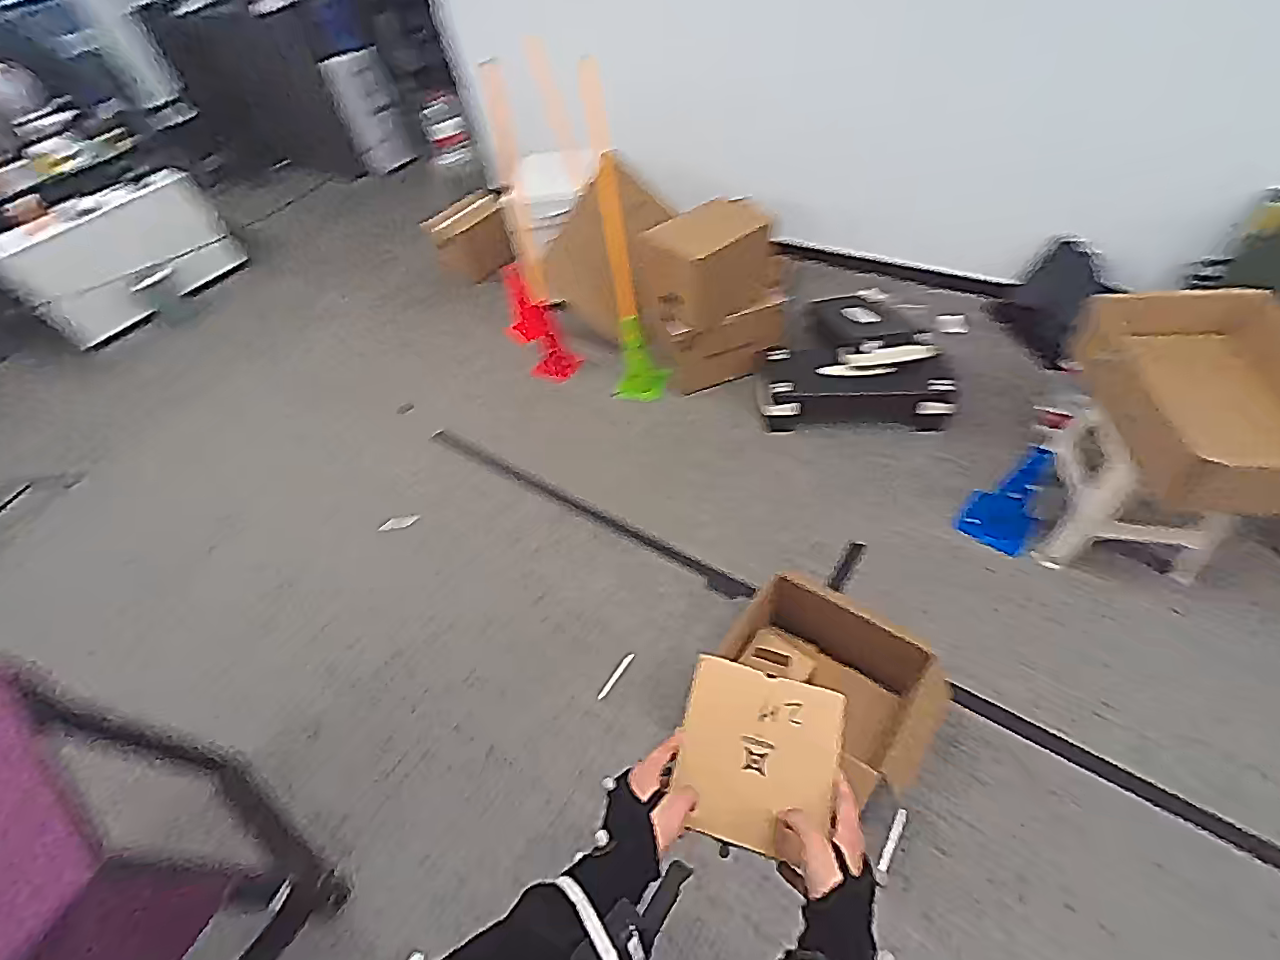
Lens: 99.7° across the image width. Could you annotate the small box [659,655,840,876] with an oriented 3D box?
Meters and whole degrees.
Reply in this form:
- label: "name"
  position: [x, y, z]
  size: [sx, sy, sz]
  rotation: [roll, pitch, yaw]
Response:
- label: "small box"
  position: [0.124, 0.337, 0.648]
  size: [0.168, 0.176, 0.179]
  rotation: [14, 59, 9]
